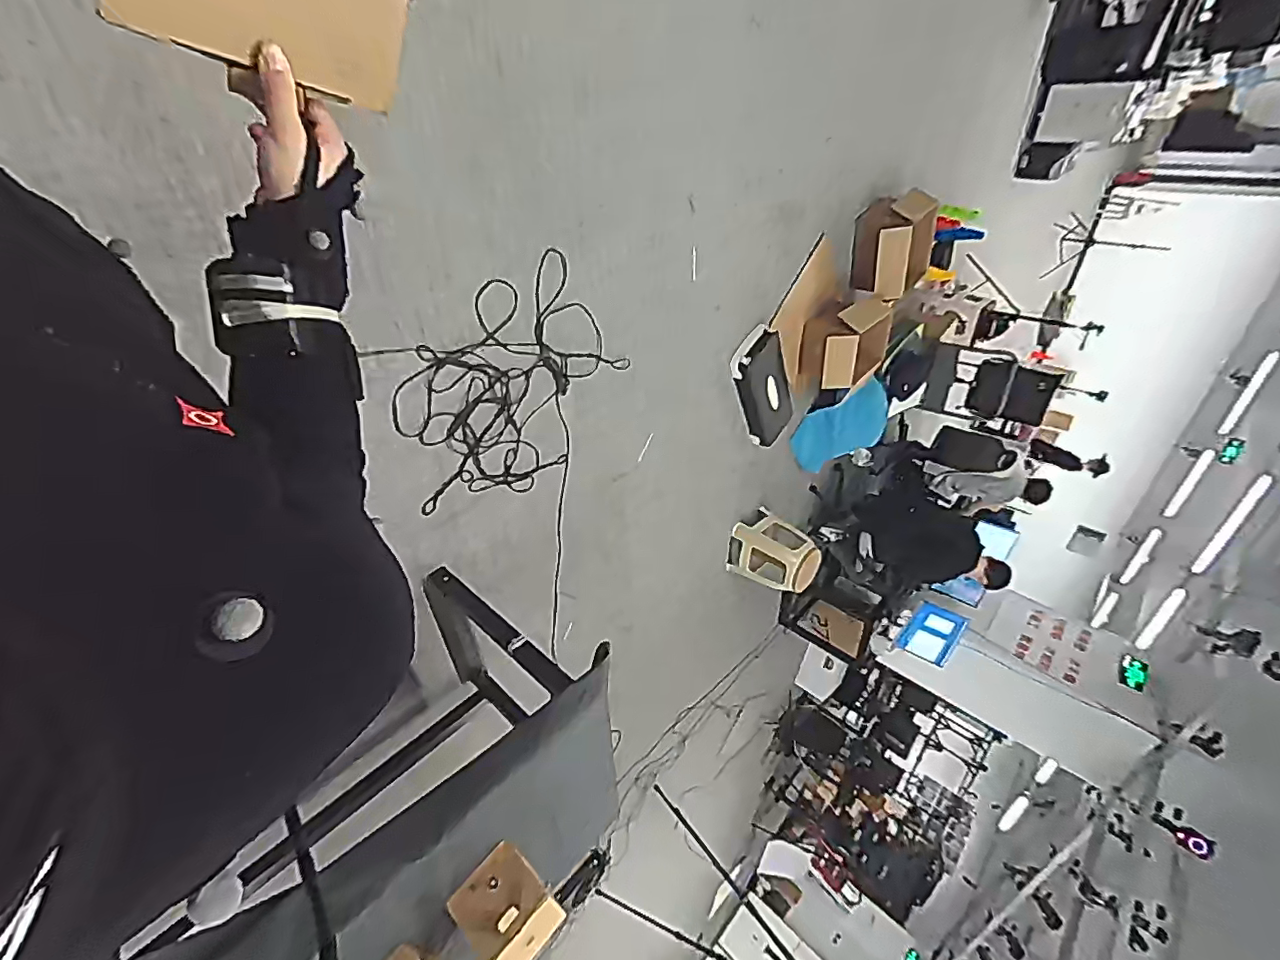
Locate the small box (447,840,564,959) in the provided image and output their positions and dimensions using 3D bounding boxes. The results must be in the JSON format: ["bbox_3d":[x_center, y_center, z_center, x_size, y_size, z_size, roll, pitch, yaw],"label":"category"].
[{"bbox_3d":[-0.302,0.964,1.225,0.168,0.176,0.179,-40,139,-30],"label":"small box"}]

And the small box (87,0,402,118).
[{"bbox_3d":[-0.265,-0.388,0.365,0.168,0.176,0.179,-6,132,-39],"label":"small box"}]
